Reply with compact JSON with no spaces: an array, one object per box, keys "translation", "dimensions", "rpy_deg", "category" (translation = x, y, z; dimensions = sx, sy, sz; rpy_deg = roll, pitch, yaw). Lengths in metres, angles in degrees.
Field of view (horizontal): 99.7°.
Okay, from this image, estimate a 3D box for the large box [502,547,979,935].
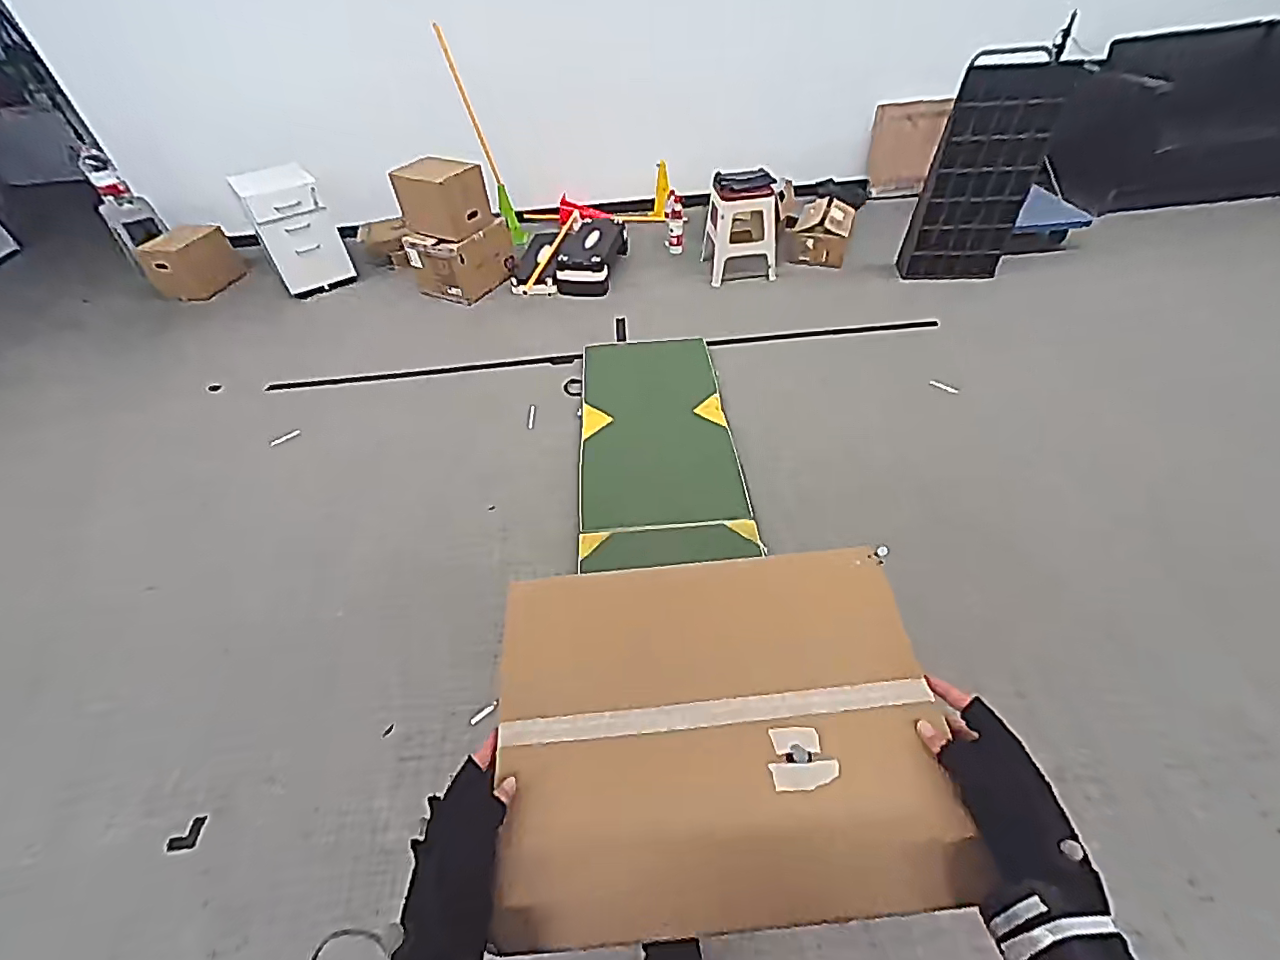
[{"translation":[0.074,0.309,0.644],"dimensions":[0.408,0.320,0.320],"rpy_deg":[-6,53,-2],"category":"large box"}]
